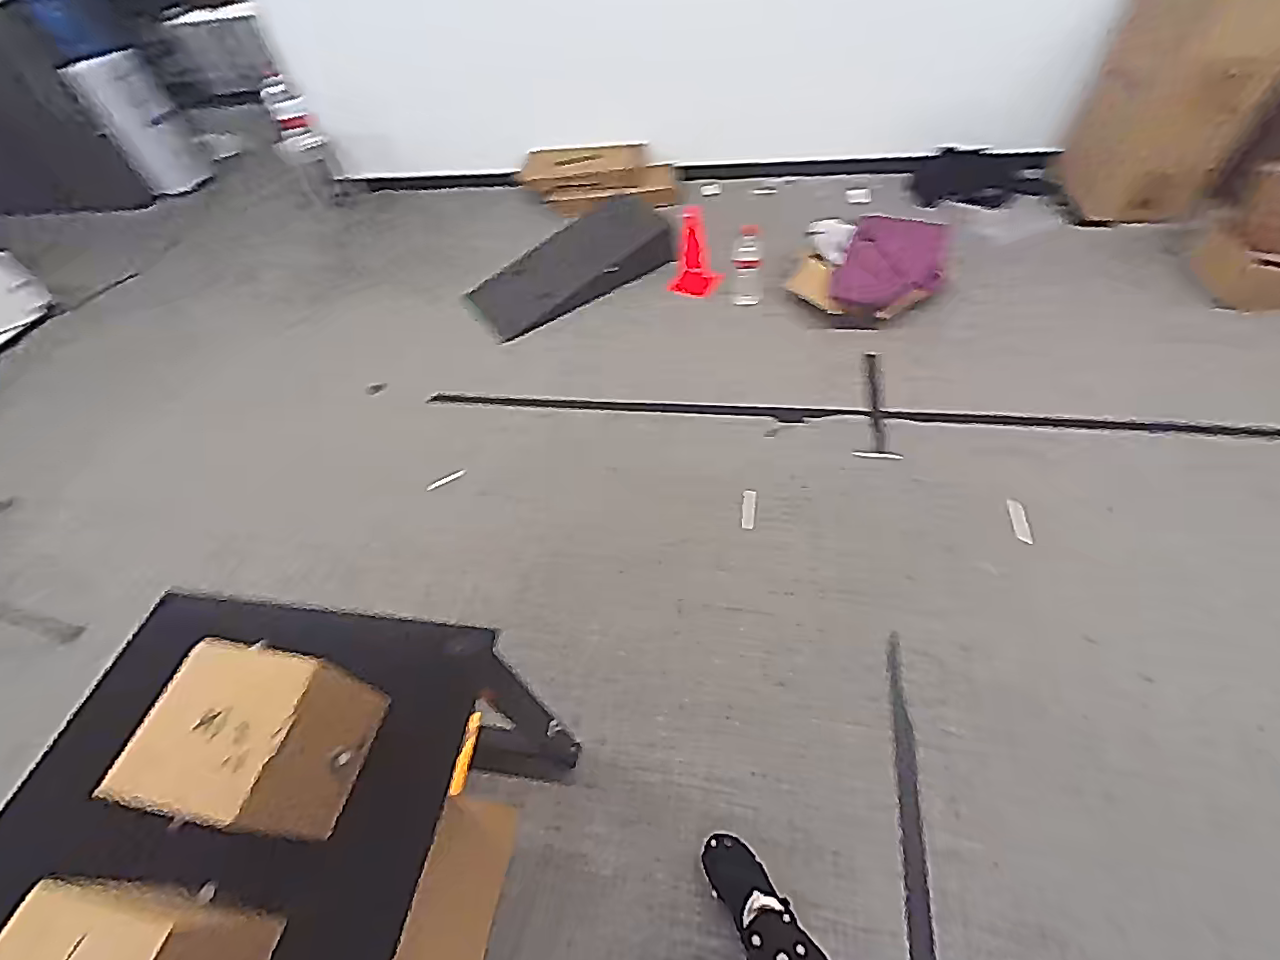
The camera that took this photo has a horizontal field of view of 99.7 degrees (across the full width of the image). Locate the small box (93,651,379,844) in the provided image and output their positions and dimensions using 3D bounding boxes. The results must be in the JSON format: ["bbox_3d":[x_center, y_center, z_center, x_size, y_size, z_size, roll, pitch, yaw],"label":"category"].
[{"bbox_3d":[-0.462,0.325,0.653,0.179,0.176,0.168,4,54,12],"label":"small box"}]

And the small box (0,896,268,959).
[{"bbox_3d":[-0.506,0.519,0.508,0.168,0.176,0.179,5,52,12],"label":"small box"}]
